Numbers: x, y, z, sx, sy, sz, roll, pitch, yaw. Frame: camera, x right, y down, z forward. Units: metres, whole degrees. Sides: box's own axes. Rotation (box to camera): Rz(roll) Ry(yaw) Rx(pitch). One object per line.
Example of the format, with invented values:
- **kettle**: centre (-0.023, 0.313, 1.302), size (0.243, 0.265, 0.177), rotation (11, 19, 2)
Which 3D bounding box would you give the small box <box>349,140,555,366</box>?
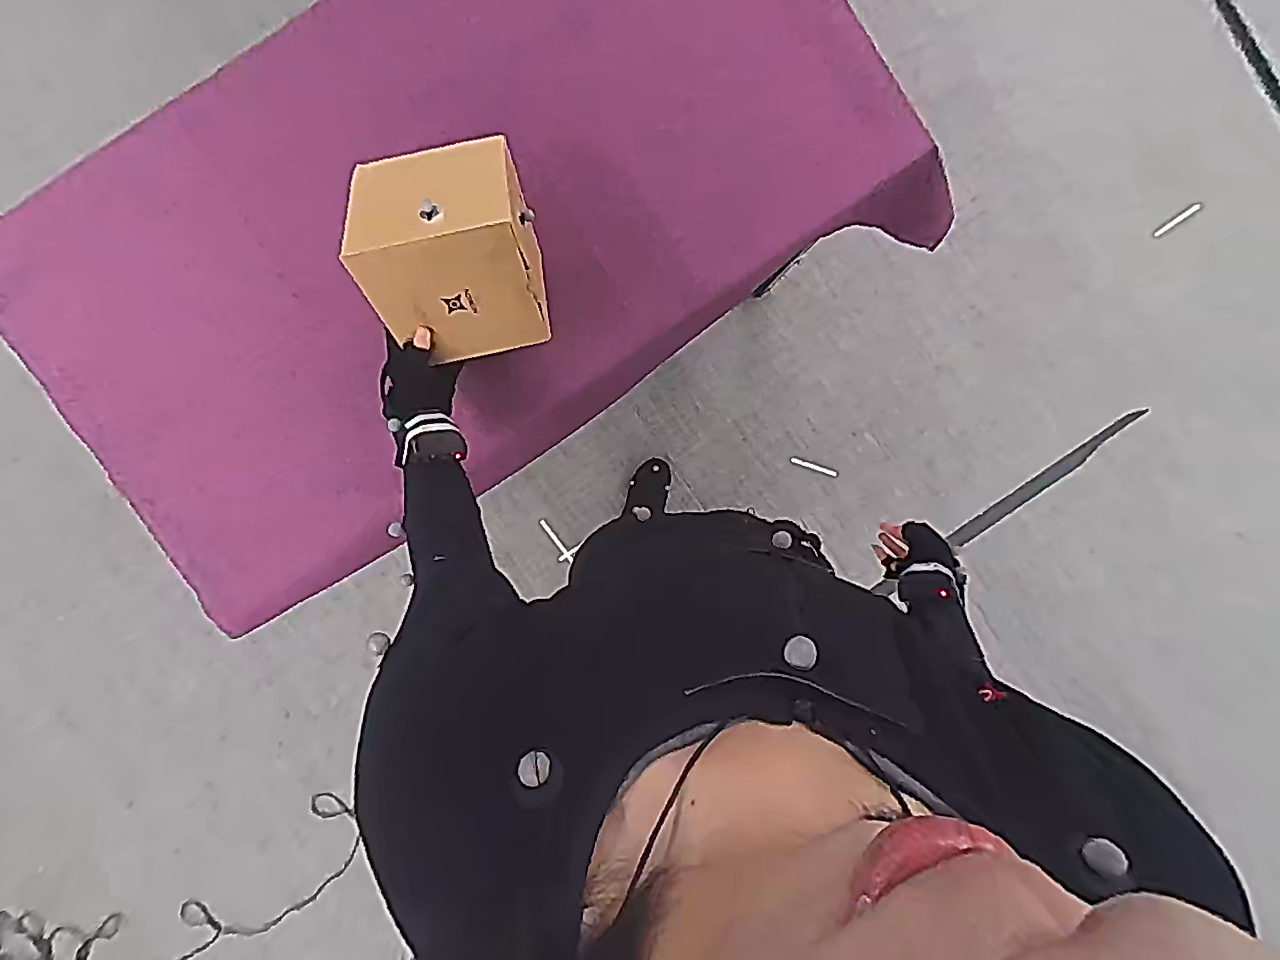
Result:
- **small box**: centre (-0.212, -0.268, 0.642), size (0.179, 0.168, 0.176), rotation (-12, 59, 2)
